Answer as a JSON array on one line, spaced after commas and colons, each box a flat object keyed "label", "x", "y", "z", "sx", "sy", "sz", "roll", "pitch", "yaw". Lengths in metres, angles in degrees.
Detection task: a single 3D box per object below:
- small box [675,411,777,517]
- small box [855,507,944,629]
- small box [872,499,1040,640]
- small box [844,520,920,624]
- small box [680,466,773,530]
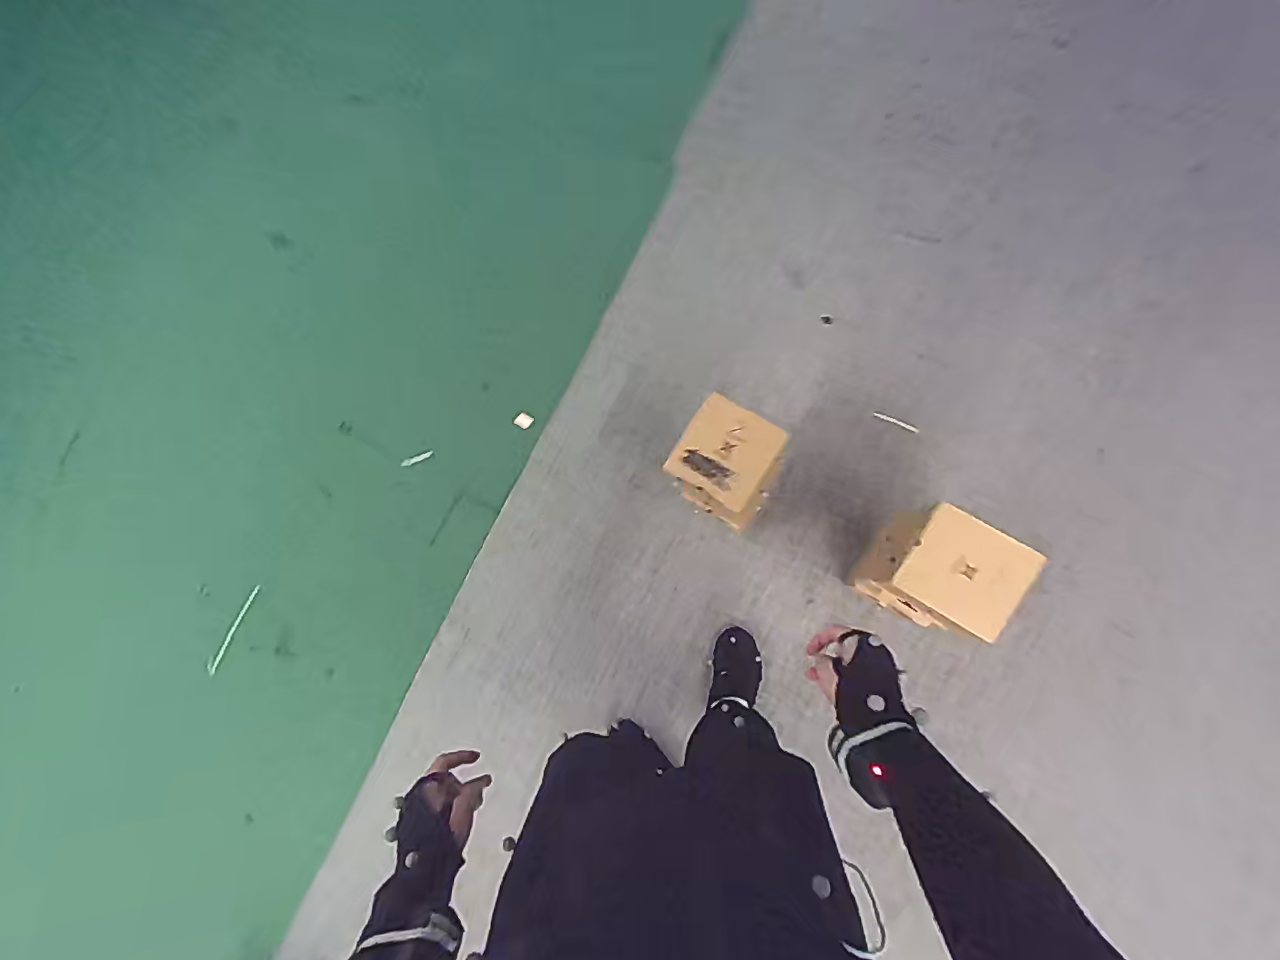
[{"label": "small box", "x": 0.200, "y": -0.027, "z": 1.238, "sx": 0.168, "sy": 0.176, "sz": 0.179, "roll": -27, "pitch": 76, "yaw": 9}, {"label": "small box", "x": 0.567, "y": 0.178, "z": 1.111, "sx": 0.168, "sy": 0.176, "sz": 0.179, "roll": 34, "pitch": 89, "yaw": 16}, {"label": "small box", "x": 0.537, "y": 0.156, "z": 0.952, "sx": 0.179, "sy": 0.176, "sz": 0.168, "roll": 33, "pitch": 90, "yaw": 15}, {"label": "small box", "x": 0.598, "y": 0.214, "z": 1.270, "sx": 0.168, "sy": 0.176, "sz": 0.179, "roll": 29, "pitch": 89, "yaw": 15}, {"label": "small box", "x": 0.226, "y": 0.015, "z": 1.386, "sx": 0.168, "sy": 0.176, "sz": 0.179, "roll": 32, "pitch": 88, "yaw": 15}]
